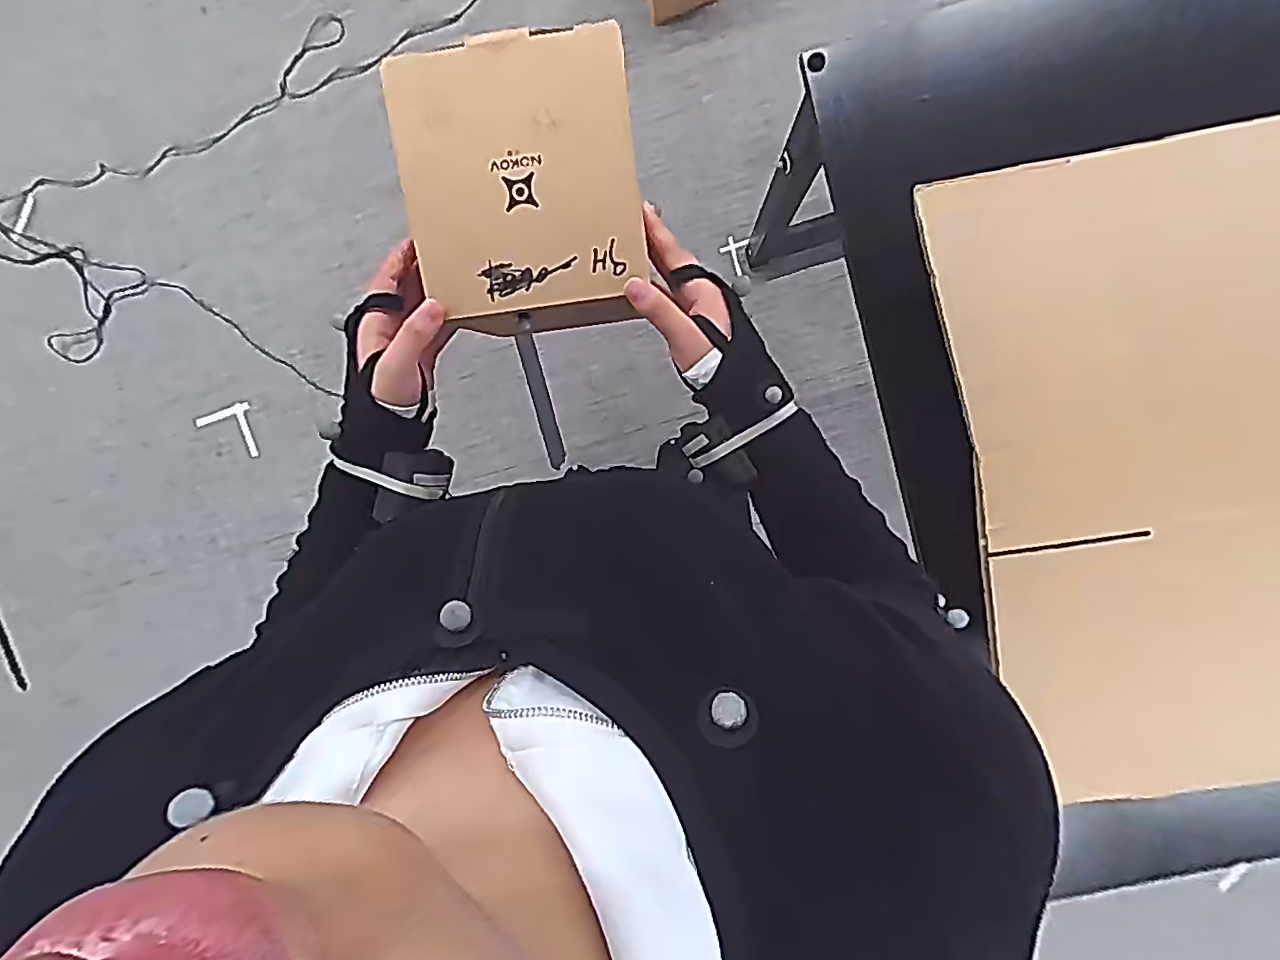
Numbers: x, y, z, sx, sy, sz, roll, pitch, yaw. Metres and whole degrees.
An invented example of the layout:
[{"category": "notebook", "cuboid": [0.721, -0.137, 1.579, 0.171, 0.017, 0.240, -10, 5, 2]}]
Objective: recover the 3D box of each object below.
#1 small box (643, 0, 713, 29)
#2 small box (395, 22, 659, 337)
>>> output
[{"category": "small box", "cuboid": [0.086, -1.246, 1.294, 0.179, 0.176, 0.168, -19, 93, 6]}, {"category": "small box", "cuboid": [-0.076, -0.226, 0.457, 0.168, 0.176, 0.179, -7, 100, 3]}]
